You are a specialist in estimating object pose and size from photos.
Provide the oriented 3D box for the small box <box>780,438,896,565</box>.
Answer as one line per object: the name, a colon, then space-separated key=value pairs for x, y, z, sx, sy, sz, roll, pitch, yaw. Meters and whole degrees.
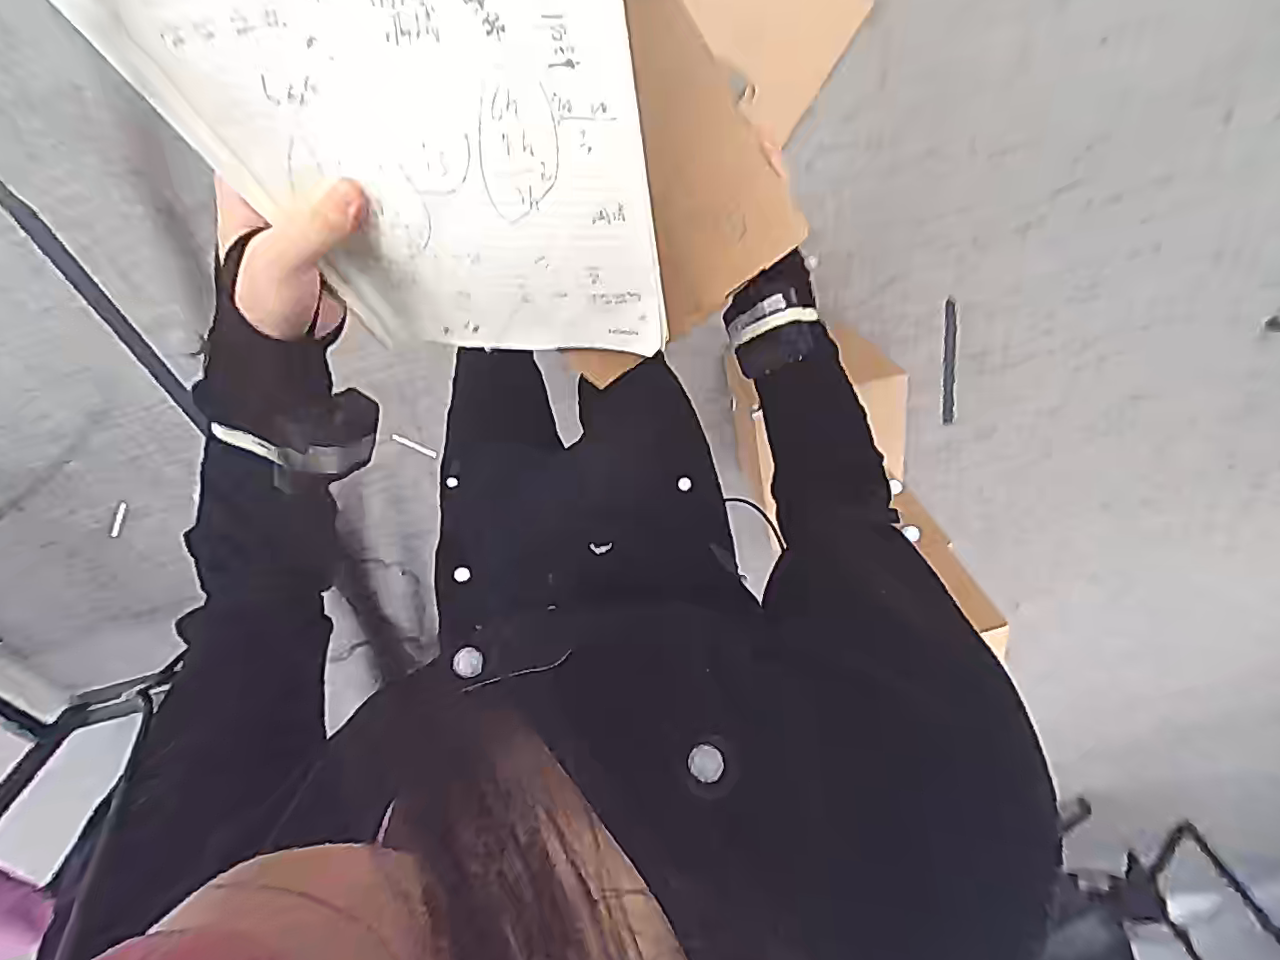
small box: x=0.400 y=0.041 z=1.114 sx=0.179 sy=0.176 sz=0.168 roll=-18 pitch=126 yaw=7
